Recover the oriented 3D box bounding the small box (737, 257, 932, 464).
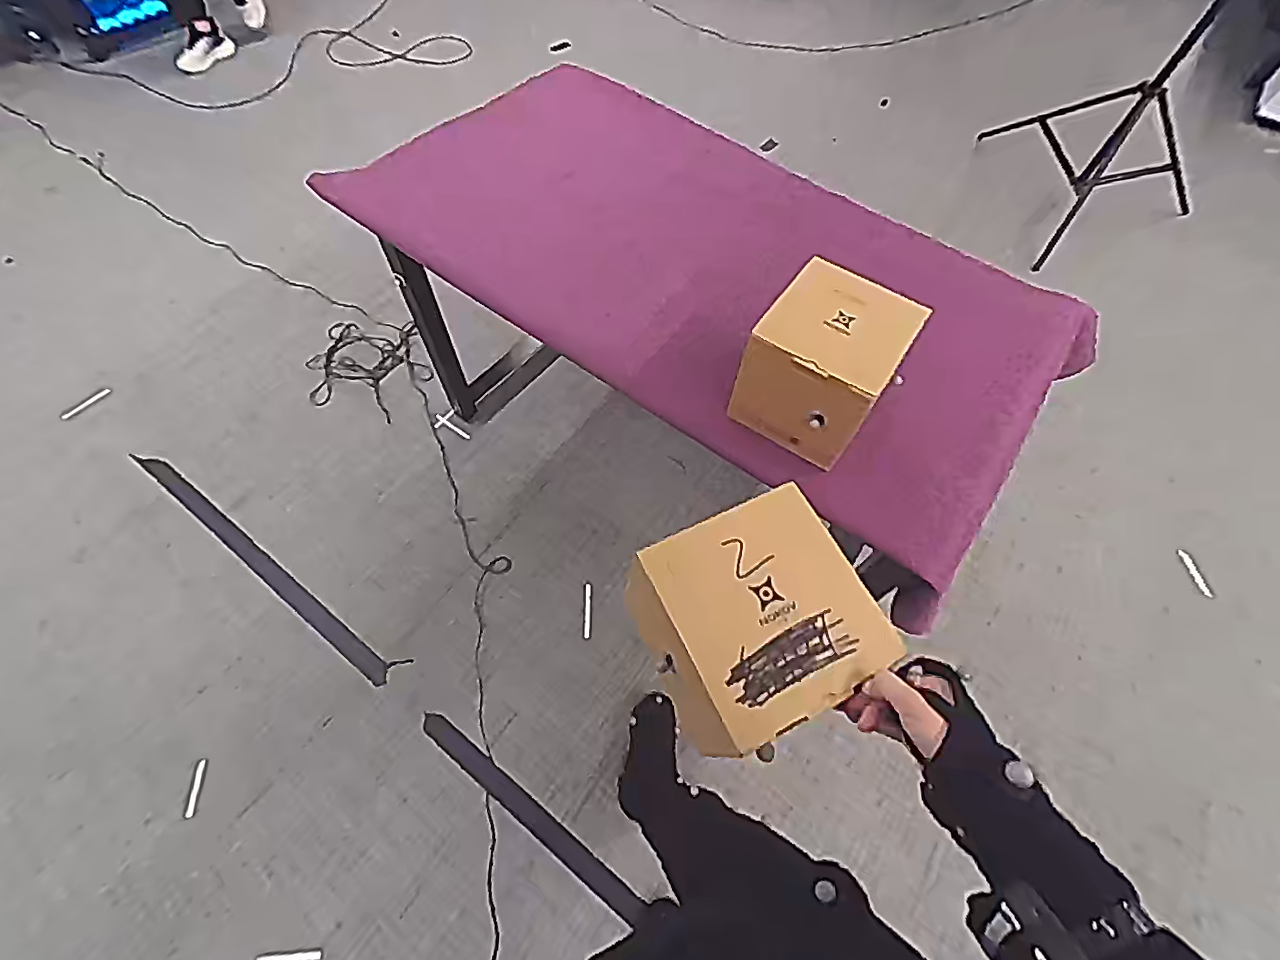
[{"bbox_3d":[0.245,-0.152,0.723,0.168,0.176,0.179,33,64,14],"label":"small box"}]
